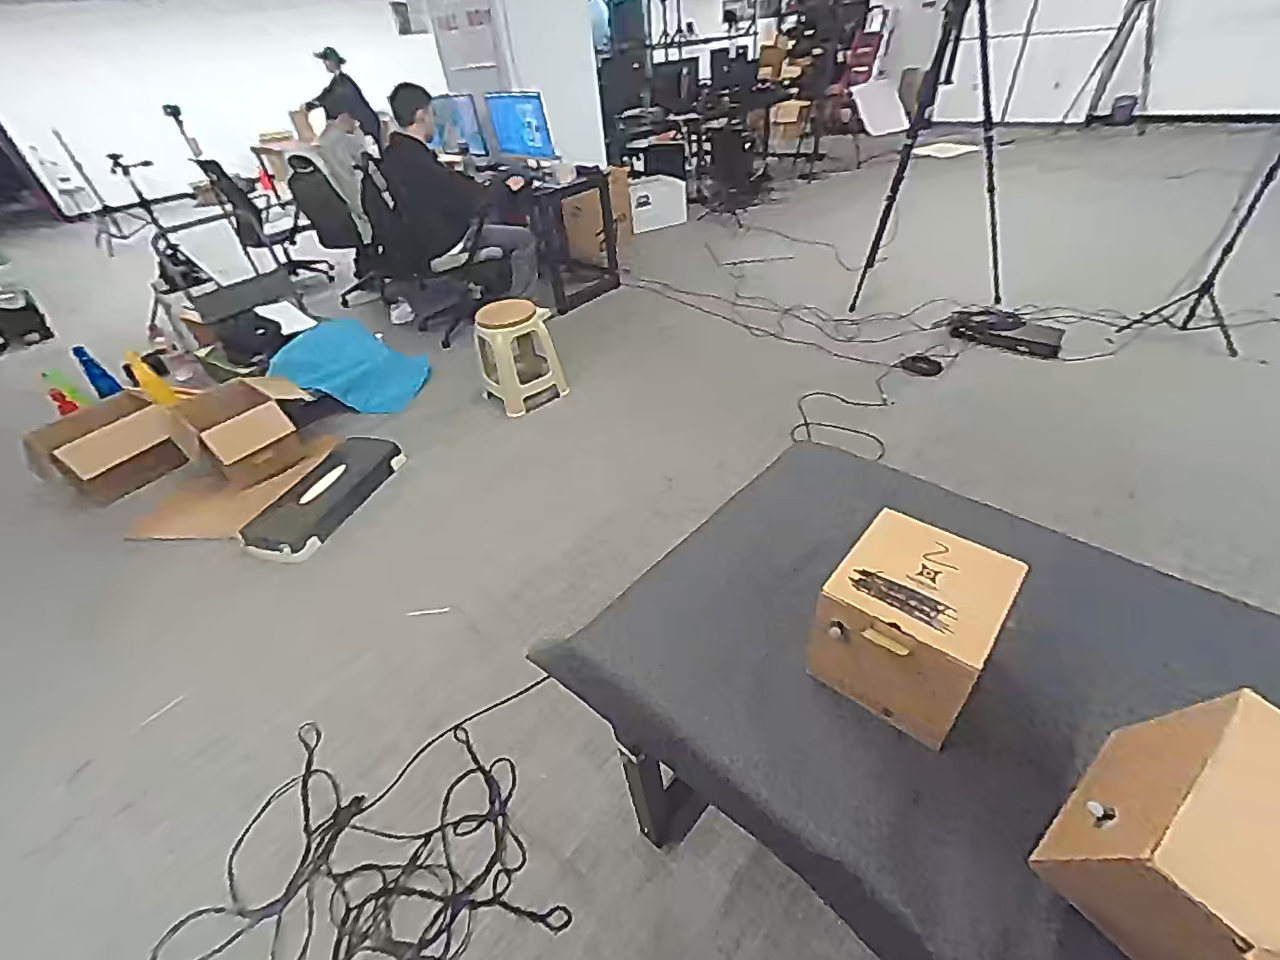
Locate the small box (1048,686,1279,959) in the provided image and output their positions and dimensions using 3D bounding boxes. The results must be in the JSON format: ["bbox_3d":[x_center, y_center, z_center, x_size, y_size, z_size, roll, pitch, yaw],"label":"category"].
[{"bbox_3d":[0.475,0.306,0.428,0.179,0.176,0.168,-36,59,-21],"label":"small box"}]
